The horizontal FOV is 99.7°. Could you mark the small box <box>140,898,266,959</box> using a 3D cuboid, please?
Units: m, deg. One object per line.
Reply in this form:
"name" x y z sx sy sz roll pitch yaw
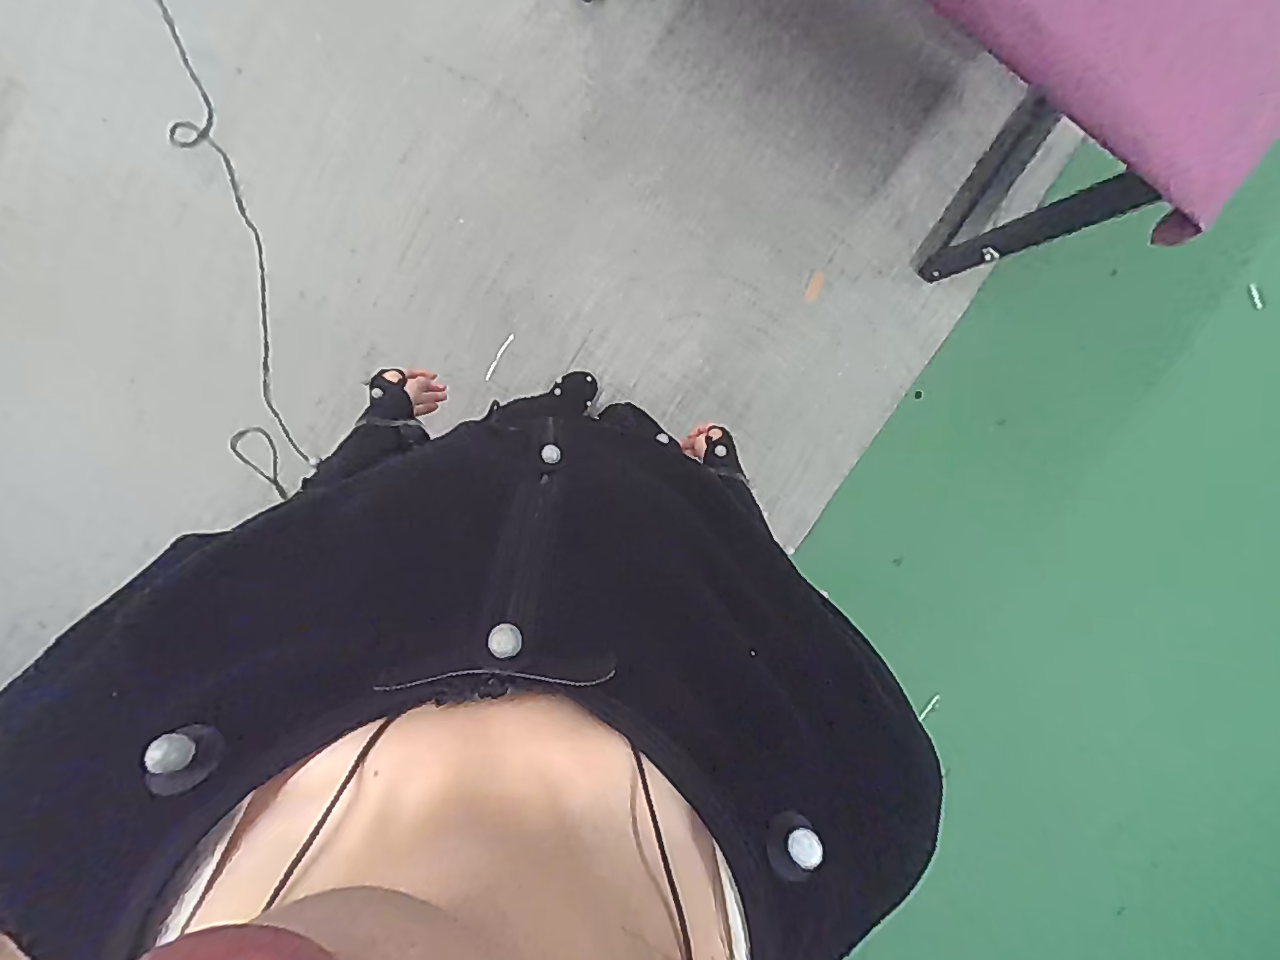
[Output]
"small box" -0.930 1.016 1.109 0.179 0.176 0.168 35 95 -7
